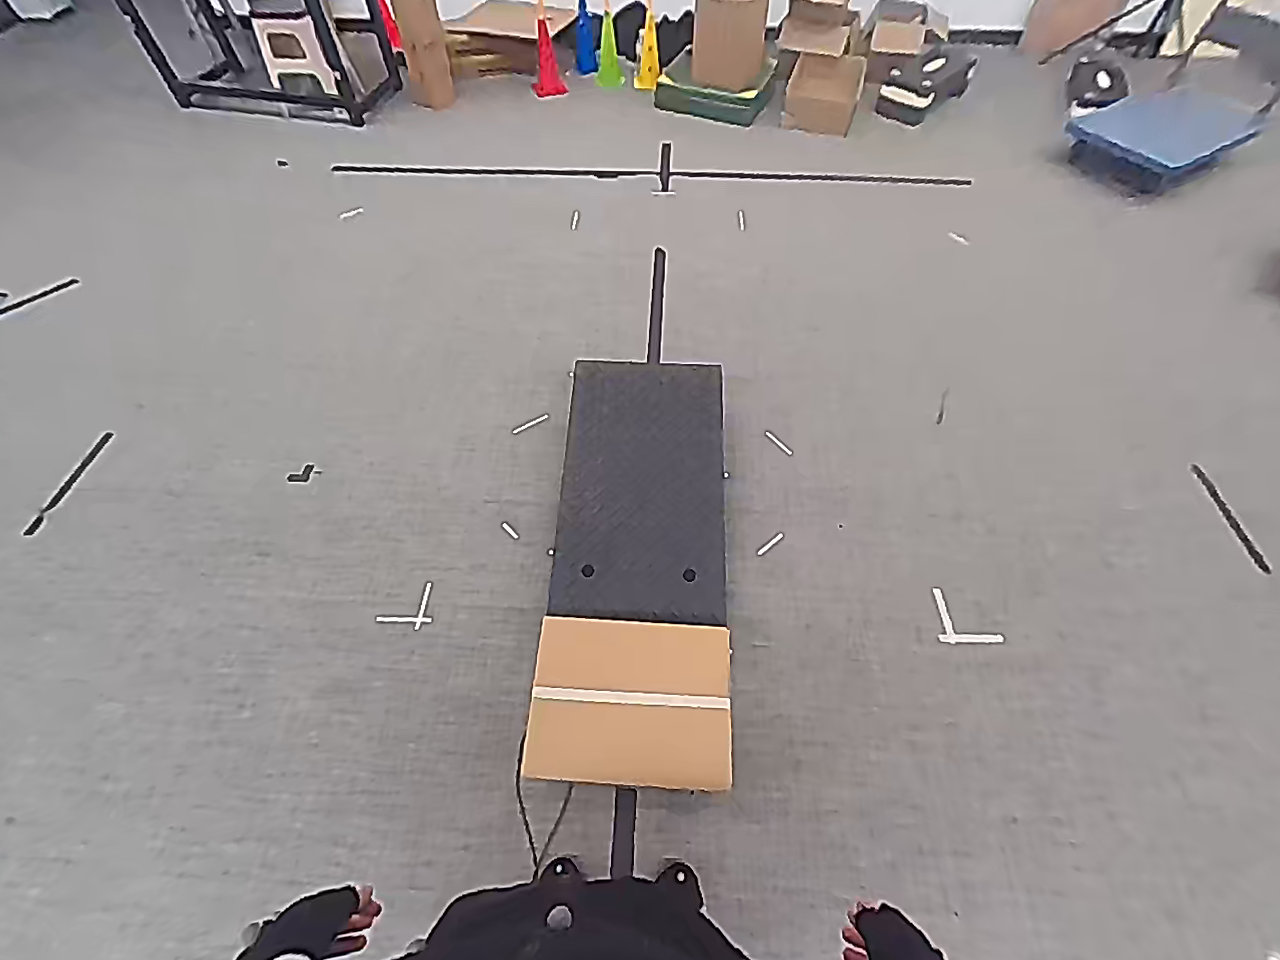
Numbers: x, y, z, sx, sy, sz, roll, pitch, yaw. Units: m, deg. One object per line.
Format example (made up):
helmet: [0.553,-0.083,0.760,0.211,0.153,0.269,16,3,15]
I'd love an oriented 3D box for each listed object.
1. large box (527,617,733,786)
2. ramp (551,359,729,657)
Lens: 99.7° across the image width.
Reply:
large box: [-0.012,0.513,1.237,0.408,0.320,0.320,3,60,2]
ramp: [0.014,0.061,1.616,0.509,0.206,0.991,1,57,-1]
